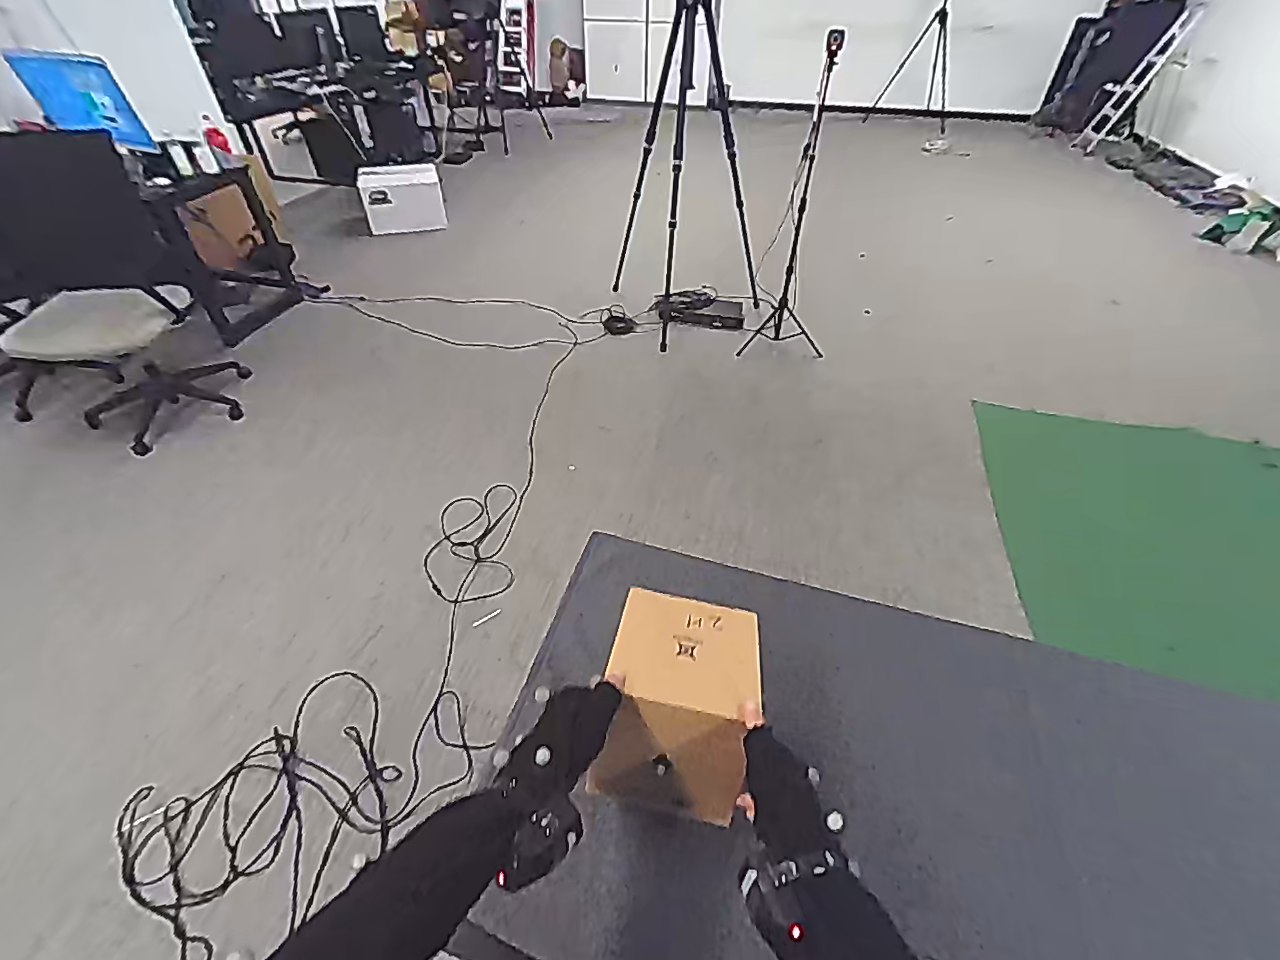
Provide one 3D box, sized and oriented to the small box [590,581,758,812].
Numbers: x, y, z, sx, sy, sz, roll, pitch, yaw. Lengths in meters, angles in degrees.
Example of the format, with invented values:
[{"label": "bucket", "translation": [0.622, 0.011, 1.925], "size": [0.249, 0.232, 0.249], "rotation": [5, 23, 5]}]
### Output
[{"label": "small box", "translation": [0.041, 0.252, 0.645], "size": [0.168, 0.176, 0.179], "rotation": [12, 25, 5]}]
